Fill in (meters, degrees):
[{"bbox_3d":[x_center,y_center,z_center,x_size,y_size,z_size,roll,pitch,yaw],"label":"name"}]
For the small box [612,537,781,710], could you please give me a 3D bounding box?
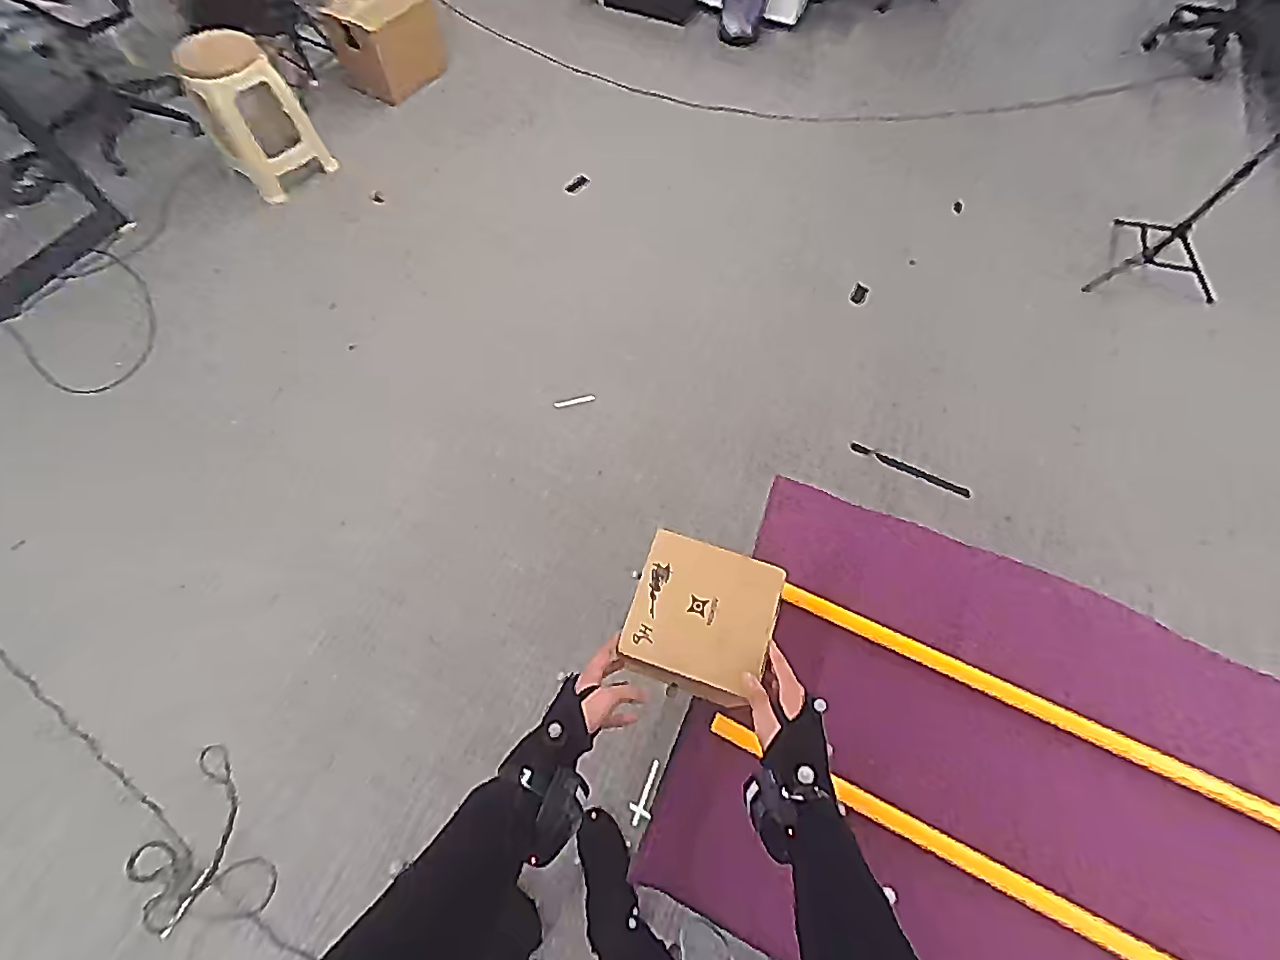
[{"bbox_3d":[0.069,0.201,0.744,0.179,0.176,0.168,19,67,5],"label":"small box"}]
